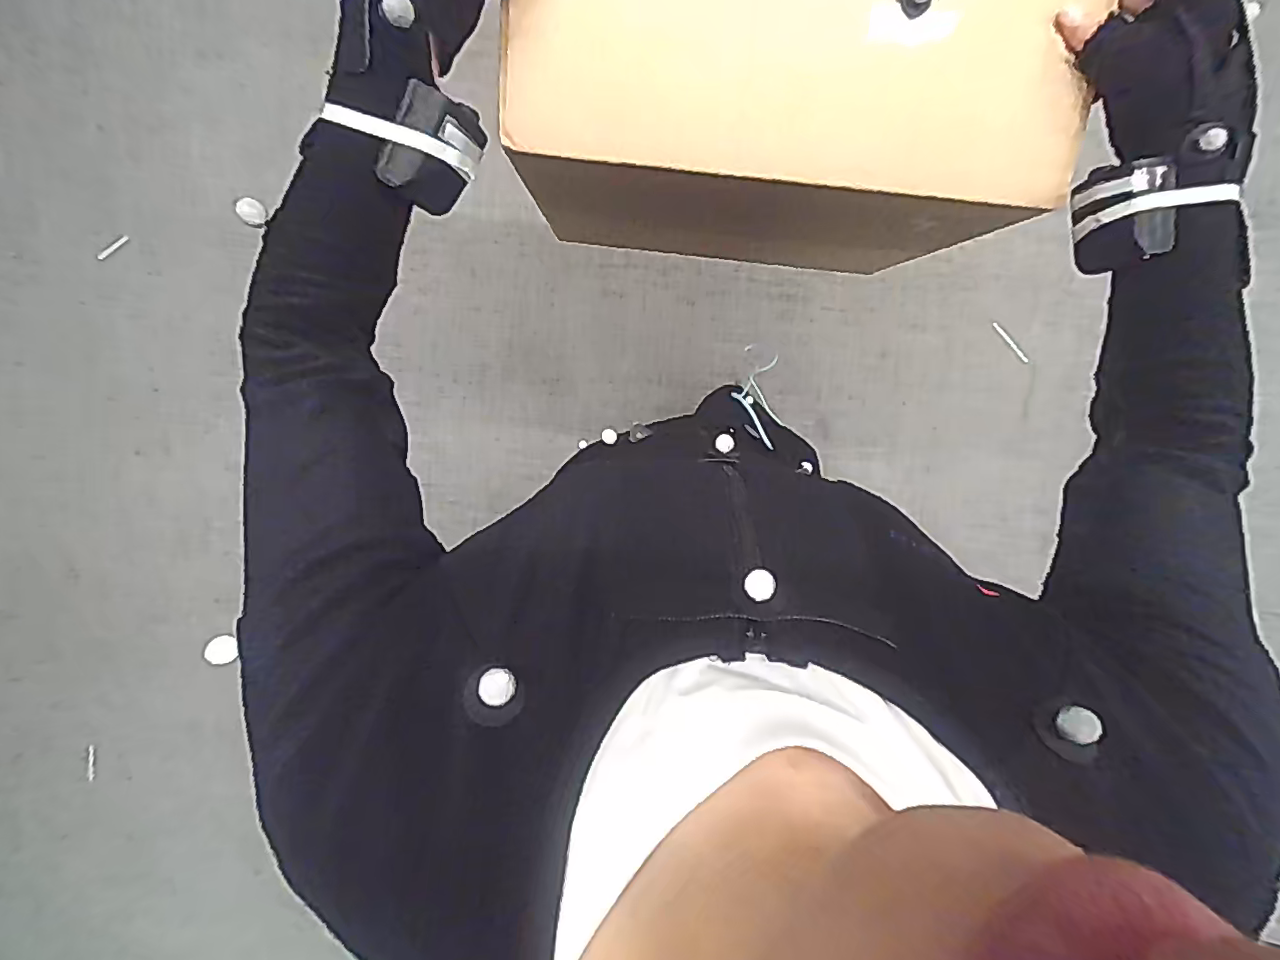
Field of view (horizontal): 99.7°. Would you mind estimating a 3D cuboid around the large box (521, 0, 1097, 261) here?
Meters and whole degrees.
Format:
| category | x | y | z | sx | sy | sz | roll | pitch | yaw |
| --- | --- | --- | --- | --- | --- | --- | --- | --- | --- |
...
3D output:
| category | x | y | z | sx | sy | sz | roll | pitch | yaw |
| --- | --- | --- | --- | --- | --- | --- | --- | --- | --- |
| large box | 0.115 | -0.407 | 0.505 | 0.408 | 0.320 | 0.320 | 4 | 103 | -3 |
